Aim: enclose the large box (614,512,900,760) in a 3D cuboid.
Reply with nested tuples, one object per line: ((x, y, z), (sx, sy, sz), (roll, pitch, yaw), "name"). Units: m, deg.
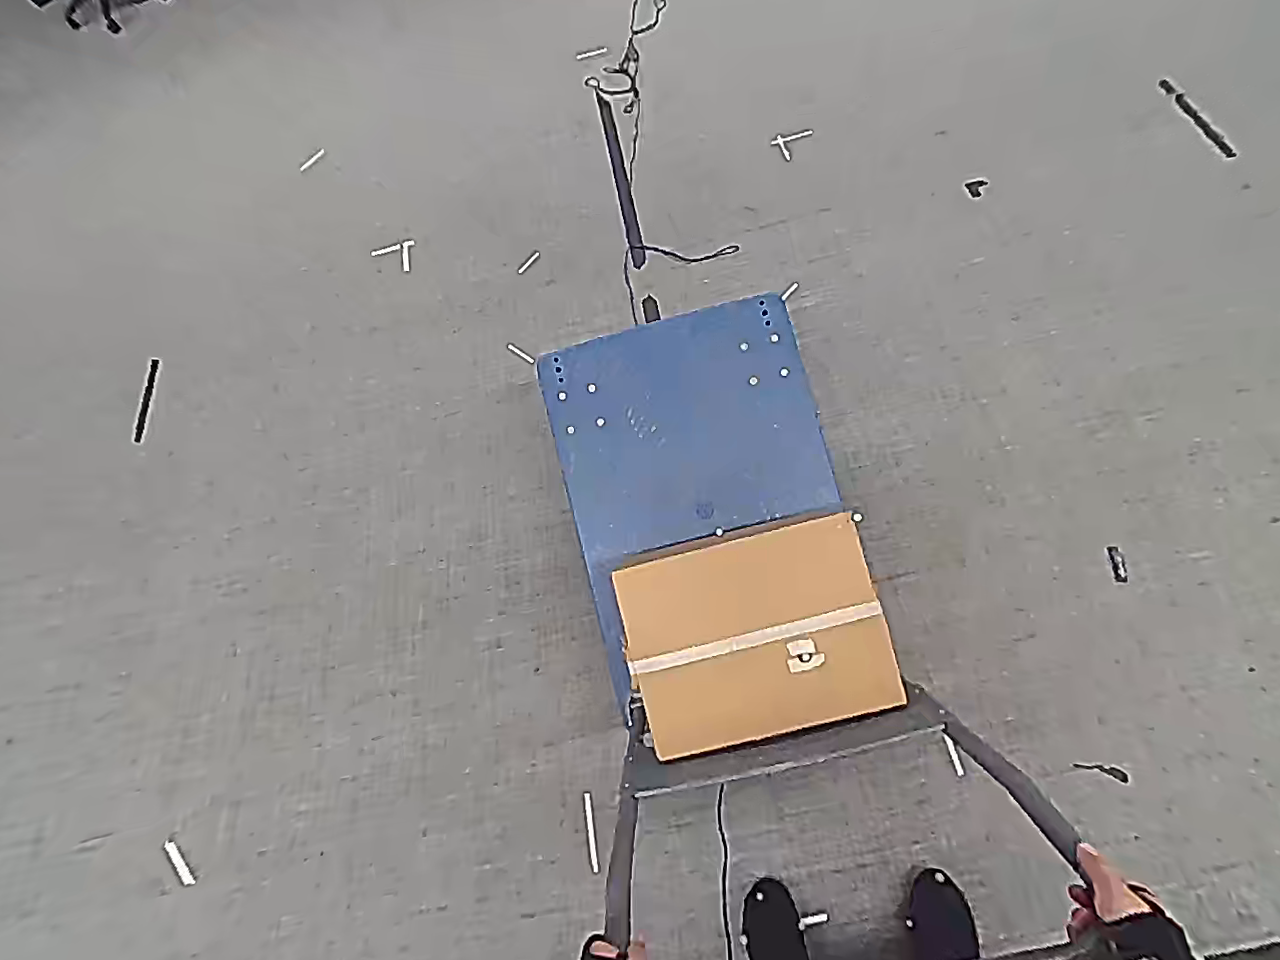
((0.193, 0.264, 1.025), (0.408, 0.320, 0.320), (-15, 86, 2), "large box")
